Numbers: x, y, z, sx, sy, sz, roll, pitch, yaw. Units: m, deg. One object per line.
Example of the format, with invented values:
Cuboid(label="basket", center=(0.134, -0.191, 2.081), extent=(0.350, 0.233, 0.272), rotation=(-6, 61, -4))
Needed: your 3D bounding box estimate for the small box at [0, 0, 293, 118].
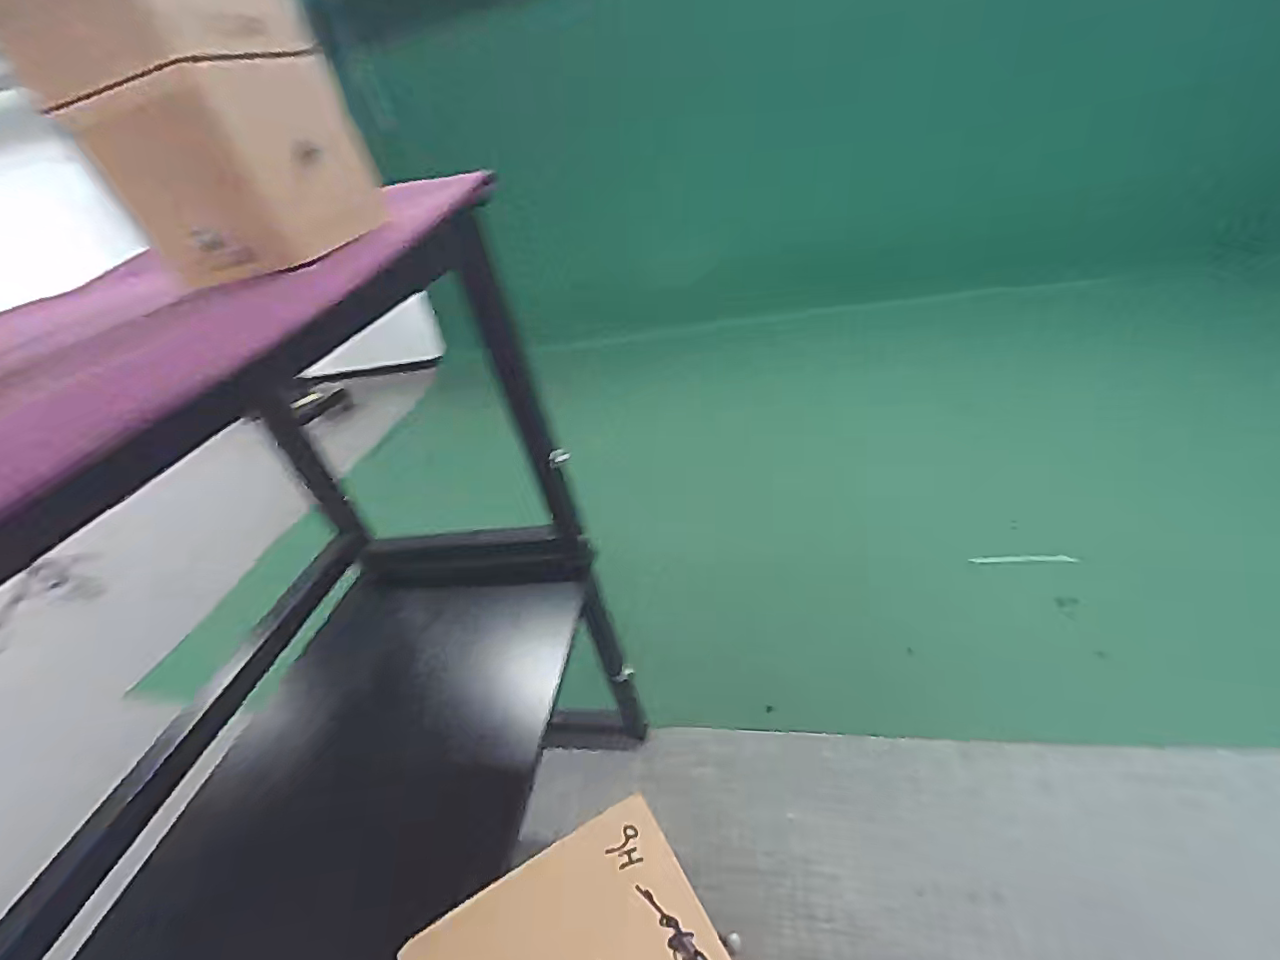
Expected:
Cuboid(label="small box", center=(-0.454, -0.437, 0.464), extent=(0.179, 0.176, 0.168), rotation=(-5, 37, 15))
